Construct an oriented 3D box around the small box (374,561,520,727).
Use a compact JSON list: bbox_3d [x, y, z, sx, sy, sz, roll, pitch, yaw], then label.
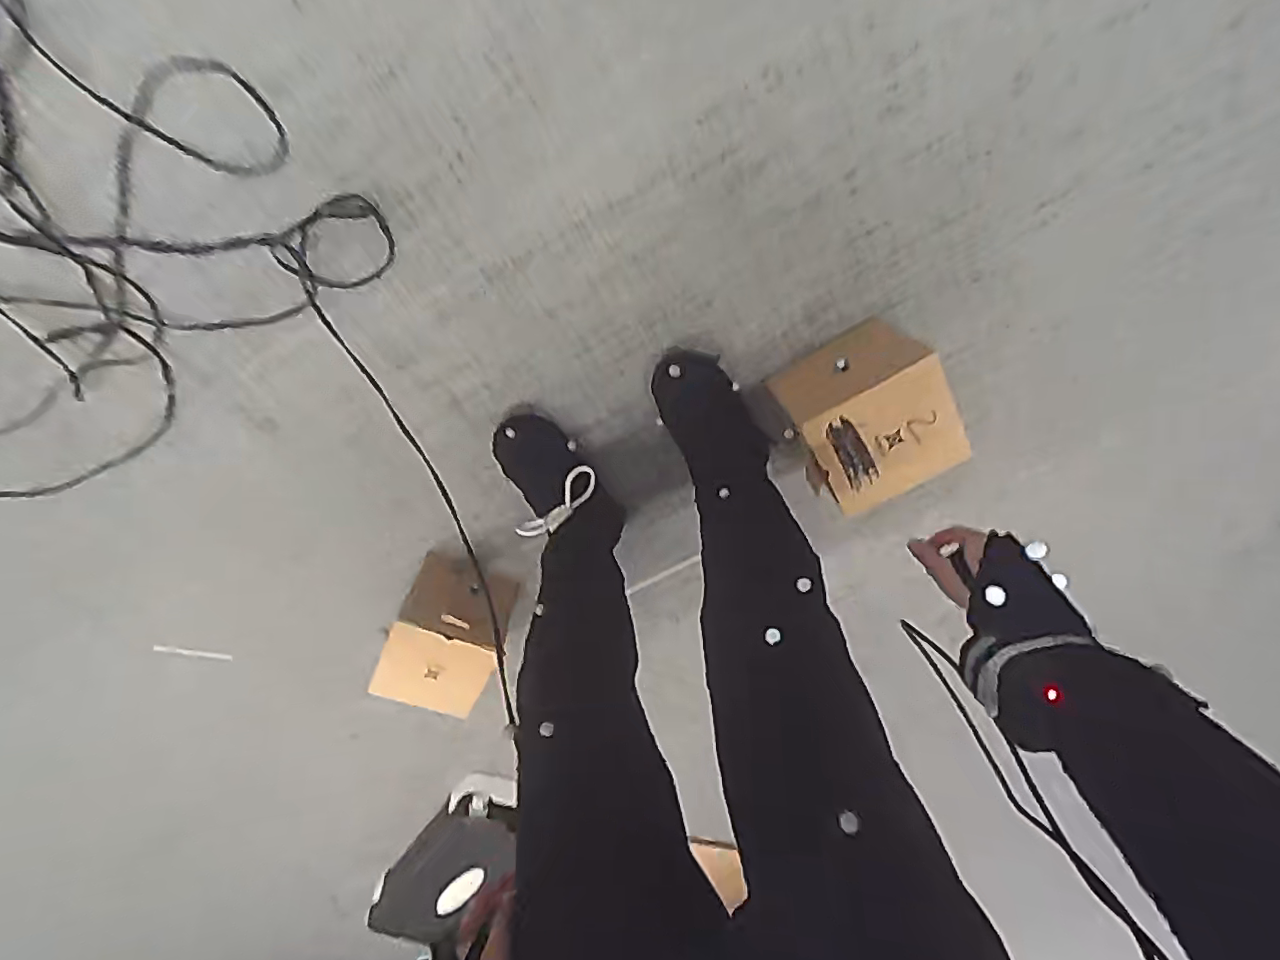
[{"bbox_3d":[-0.313,0.270,0.907,0.168,0.176,0.179,23,115,-14],"label":"small box"}]
